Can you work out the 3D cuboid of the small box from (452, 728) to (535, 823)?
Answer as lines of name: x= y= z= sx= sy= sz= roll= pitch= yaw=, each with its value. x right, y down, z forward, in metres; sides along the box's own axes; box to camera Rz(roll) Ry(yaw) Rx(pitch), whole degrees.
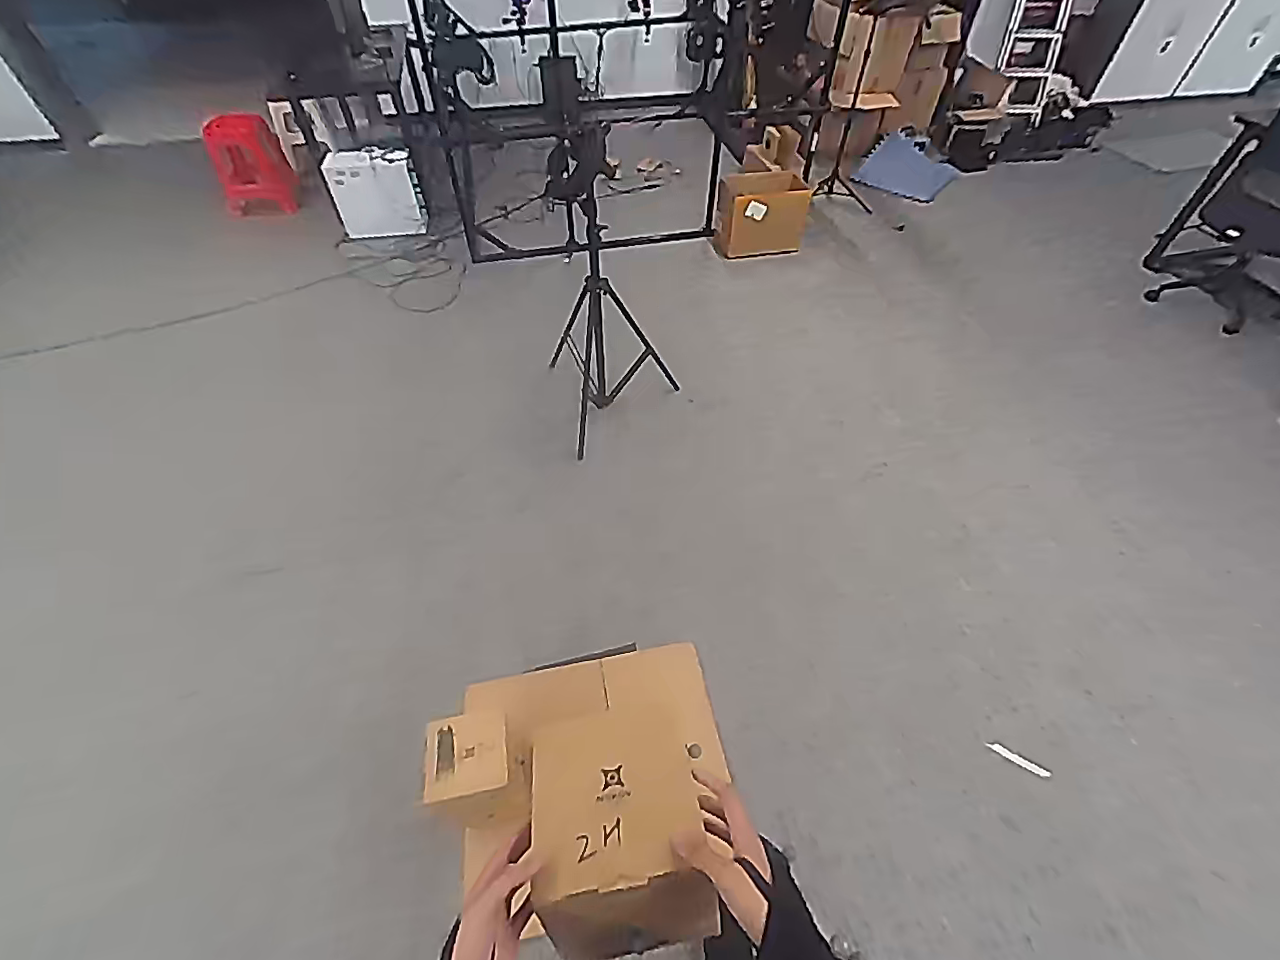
small box: x=-0.364 y=0.747 z=1.364 sx=0.179 sy=0.176 sz=0.168 roll=-9 pitch=51 yaw=-7

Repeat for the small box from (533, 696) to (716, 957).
small box: x=-0.017 y=0.375 z=0.596 sx=0.168 sy=0.176 sz=0.179 roll=-10 pitch=34 yaw=-3
